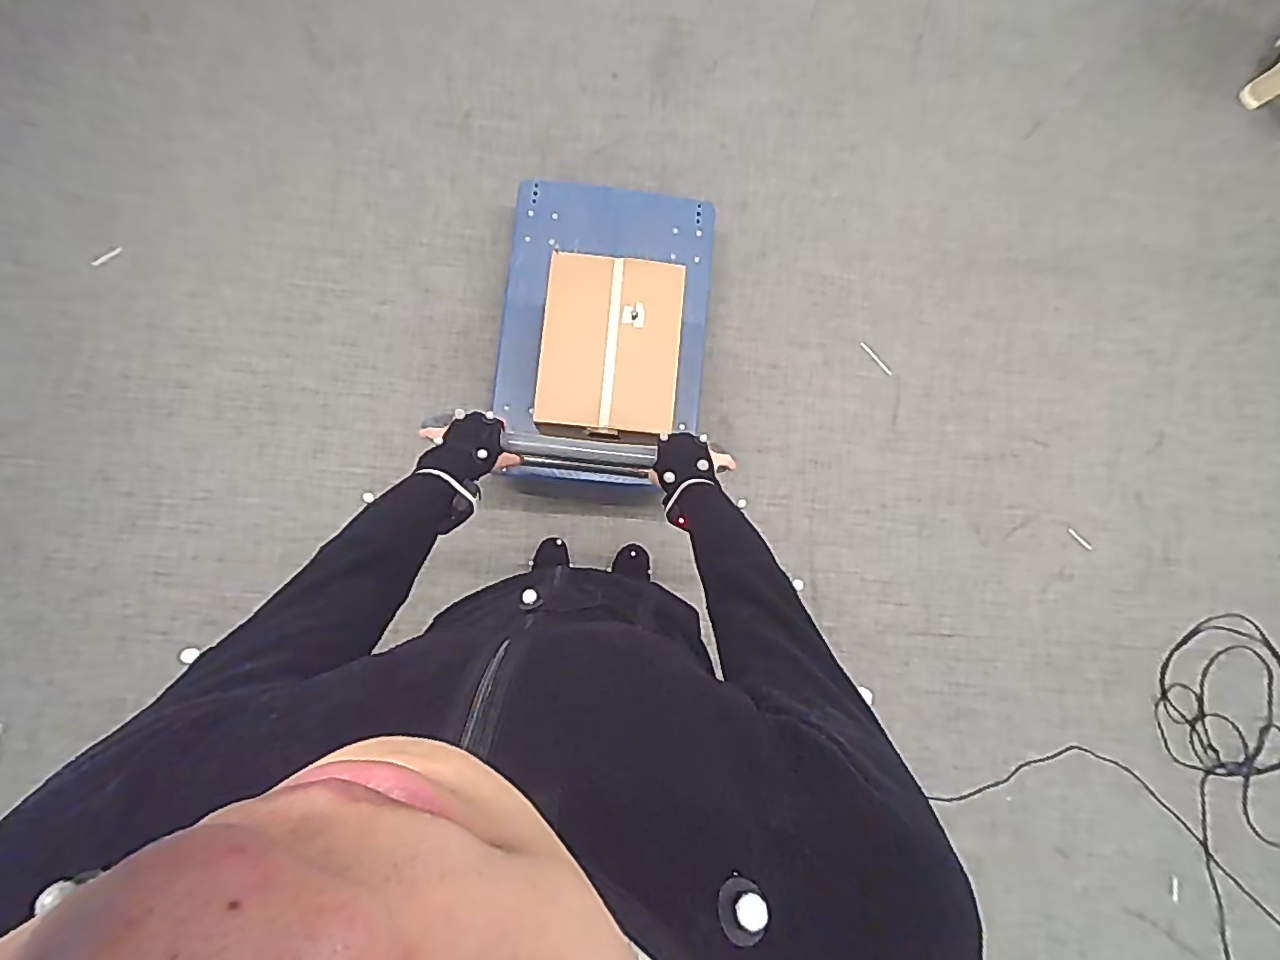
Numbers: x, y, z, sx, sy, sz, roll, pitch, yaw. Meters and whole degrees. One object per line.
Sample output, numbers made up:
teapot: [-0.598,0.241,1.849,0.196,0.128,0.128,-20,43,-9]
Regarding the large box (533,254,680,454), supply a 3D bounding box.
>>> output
large box: [-0.081,-0.293,1.373,0.320,0.320,0.408,5,82,-4]
